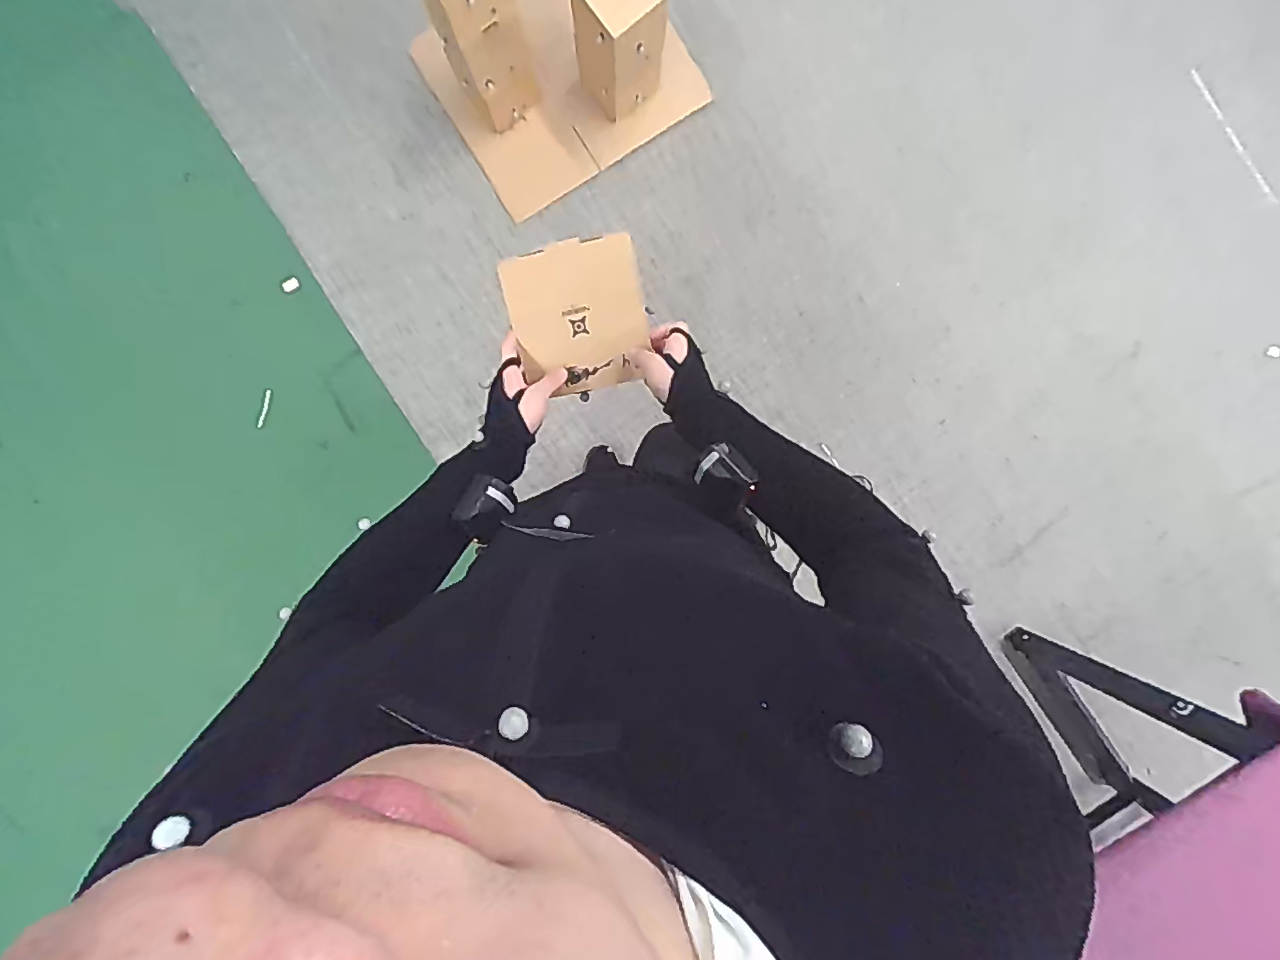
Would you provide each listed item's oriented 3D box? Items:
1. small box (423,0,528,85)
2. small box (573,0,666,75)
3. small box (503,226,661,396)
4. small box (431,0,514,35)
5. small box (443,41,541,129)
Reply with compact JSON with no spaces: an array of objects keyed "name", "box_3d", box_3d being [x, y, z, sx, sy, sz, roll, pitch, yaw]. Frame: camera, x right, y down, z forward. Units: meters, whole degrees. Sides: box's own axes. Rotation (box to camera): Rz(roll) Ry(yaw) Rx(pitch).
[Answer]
[{"name":"small box","box_3d":[-0.397,-1.117,1.320,0.168,0.176,0.179,-36,91,1]},{"name":"small box","box_3d":[-0.047,-1.140,1.315,0.168,0.176,0.179,-39,92,0]},{"name":"small box","box_3d":[-0.068,-0.220,0.734,0.168,0.176,0.179,-11,104,4]},{"name":"small box","box_3d":[-0.394,-1.114,1.158,0.168,0.176,0.179,-36,91,2]},{"name":"small box","box_3d":[-0.398,-1.123,1.483,0.168,0.176,0.179,-40,92,1]}]
